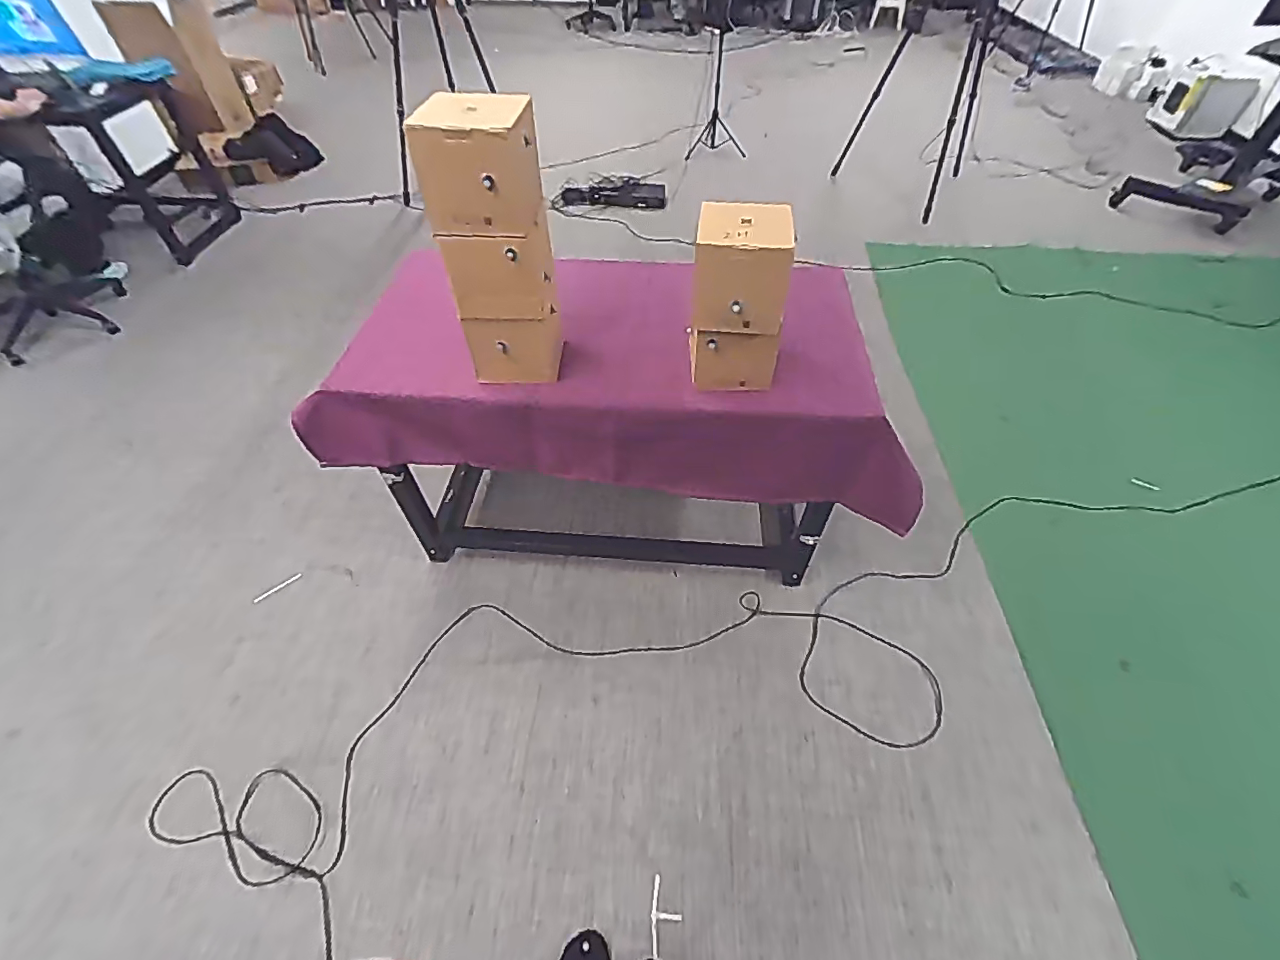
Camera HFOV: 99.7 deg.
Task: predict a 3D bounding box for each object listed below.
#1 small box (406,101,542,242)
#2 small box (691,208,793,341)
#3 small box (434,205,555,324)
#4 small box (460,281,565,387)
[{"bbox_3d":[-0.270,-0.529,0.932,0.168,0.176,0.179,4,48,2],"label":"small box"},{"bbox_3d":[0.186,-0.385,1.012,0.168,0.176,0.179,6,49,6],"label":"small box"},{"bbox_3d":[-0.271,-0.420,1.053,0.179,0.176,0.168,2,48,1],"label":"small box"},{"bbox_3d":[-0.268,-0.317,1.179,0.179,0.176,0.168,1,49,2],"label":"small box"}]
